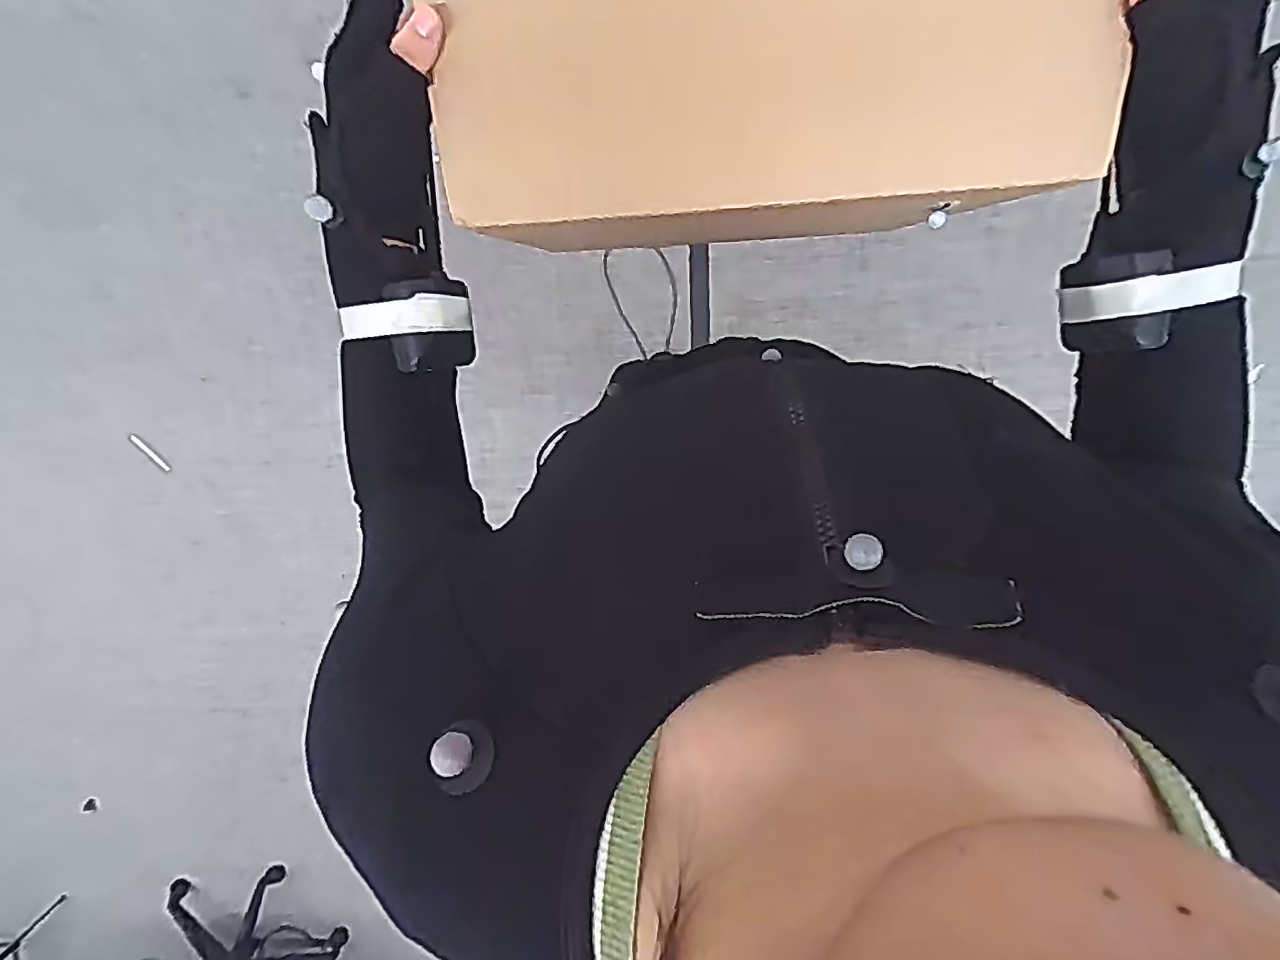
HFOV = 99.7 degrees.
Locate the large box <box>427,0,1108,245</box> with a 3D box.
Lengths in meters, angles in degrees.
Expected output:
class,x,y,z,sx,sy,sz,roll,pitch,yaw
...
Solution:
class,x,y,z,sx,sy,sz,roll,pitch,yaw
large box,0.075,-0.378,0.439,0.408,0.320,0.320,-3,110,4
